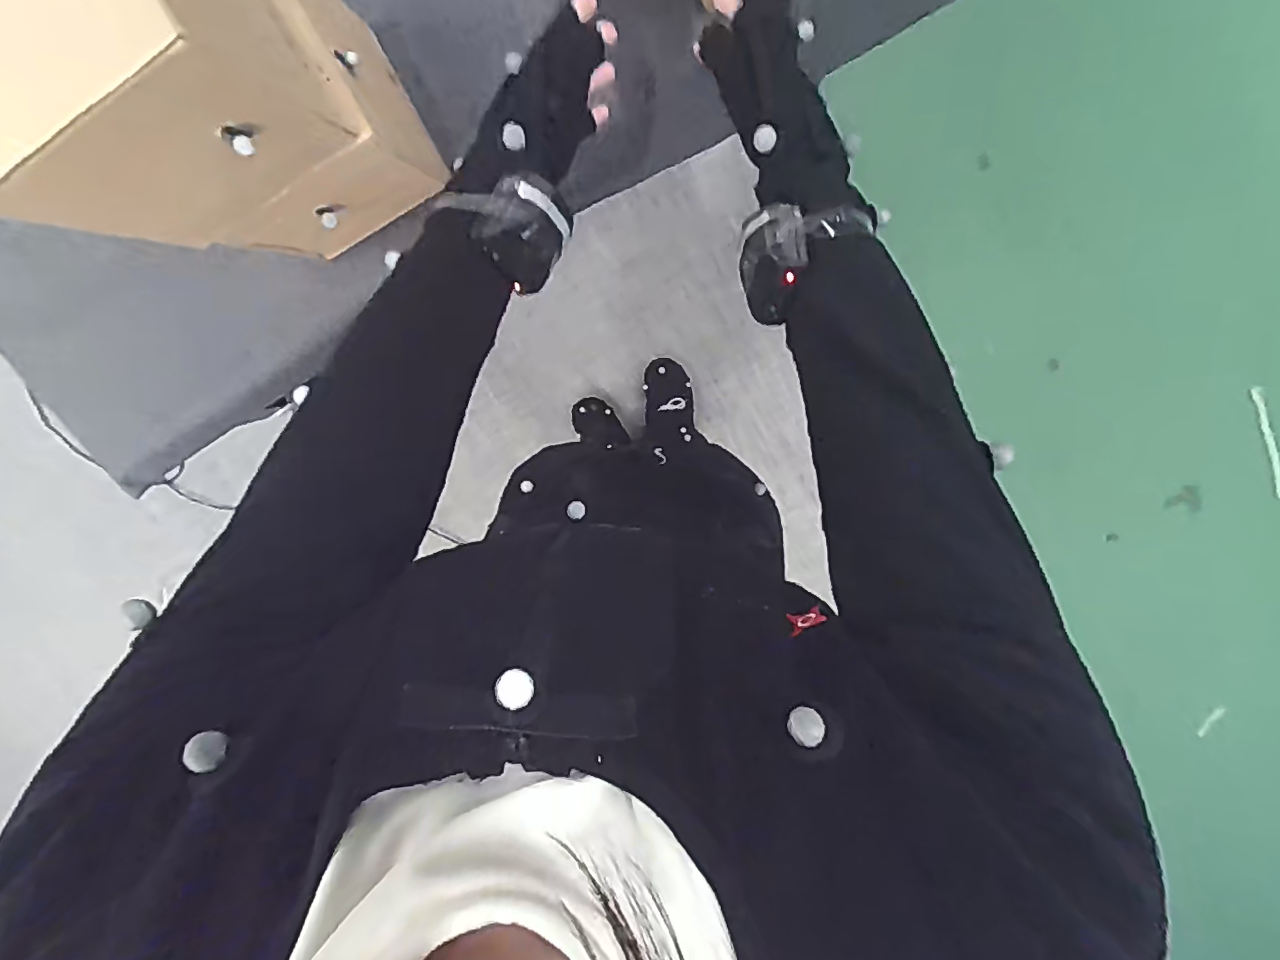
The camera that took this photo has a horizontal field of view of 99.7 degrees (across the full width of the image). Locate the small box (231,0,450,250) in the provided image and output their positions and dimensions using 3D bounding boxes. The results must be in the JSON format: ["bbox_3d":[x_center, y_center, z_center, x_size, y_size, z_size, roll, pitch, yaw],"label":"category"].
[{"bbox_3d":[-0.320,-0.342,0.518,0.179,0.176,0.168,-25,103,11],"label":"small box"}]

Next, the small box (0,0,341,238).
[{"bbox_3d":[-0.342,-0.291,0.364,0.179,0.176,0.168,-27,102,12],"label":"small box"}]
